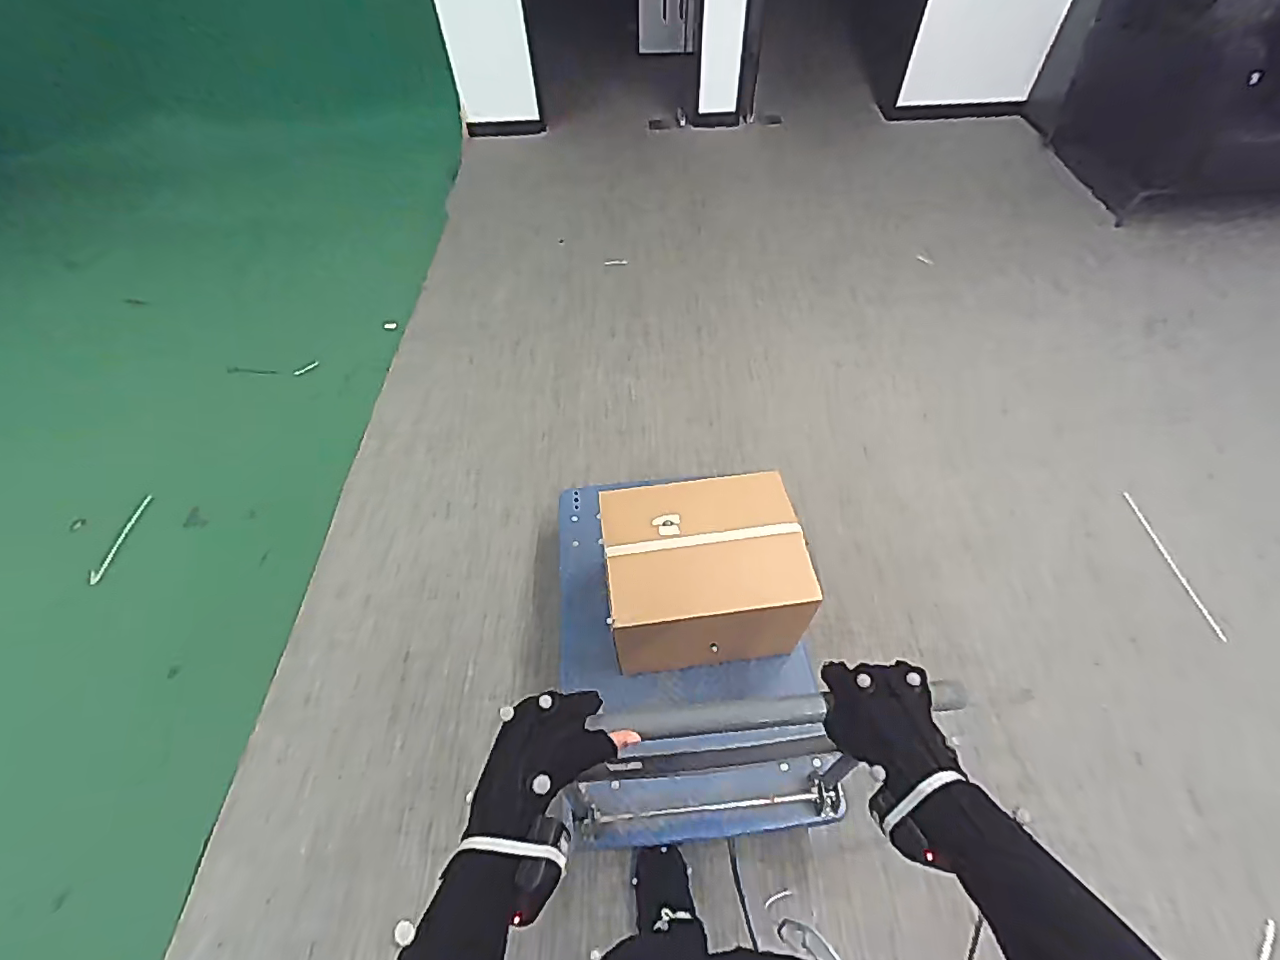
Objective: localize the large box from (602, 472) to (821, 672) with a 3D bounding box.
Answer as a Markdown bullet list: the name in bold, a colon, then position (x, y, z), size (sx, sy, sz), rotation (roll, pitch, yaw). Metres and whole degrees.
- **large box**: position (0.142, 0.218, 1.239), size (0.408, 0.320, 0.320), rotation (-8, 54, -2)
